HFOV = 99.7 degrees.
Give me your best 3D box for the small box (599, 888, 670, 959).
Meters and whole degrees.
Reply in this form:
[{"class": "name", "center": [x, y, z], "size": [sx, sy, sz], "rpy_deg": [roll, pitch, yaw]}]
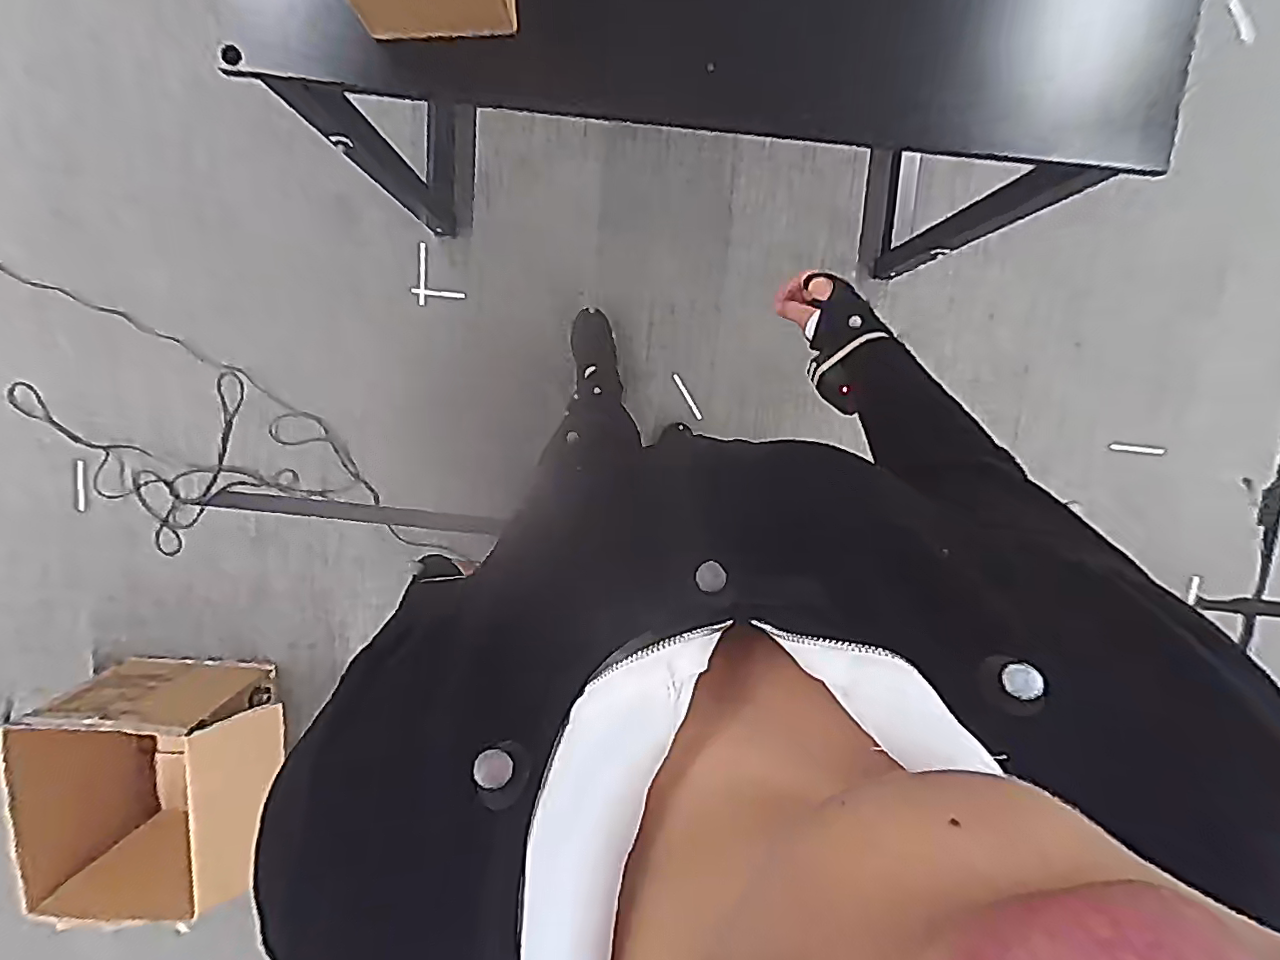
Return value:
[{"class": "small box", "center": [-0.019, 1.328, 1.562], "size": [0.179, 0.176, 0.168], "rpy_deg": [10, 96, -2]}]
